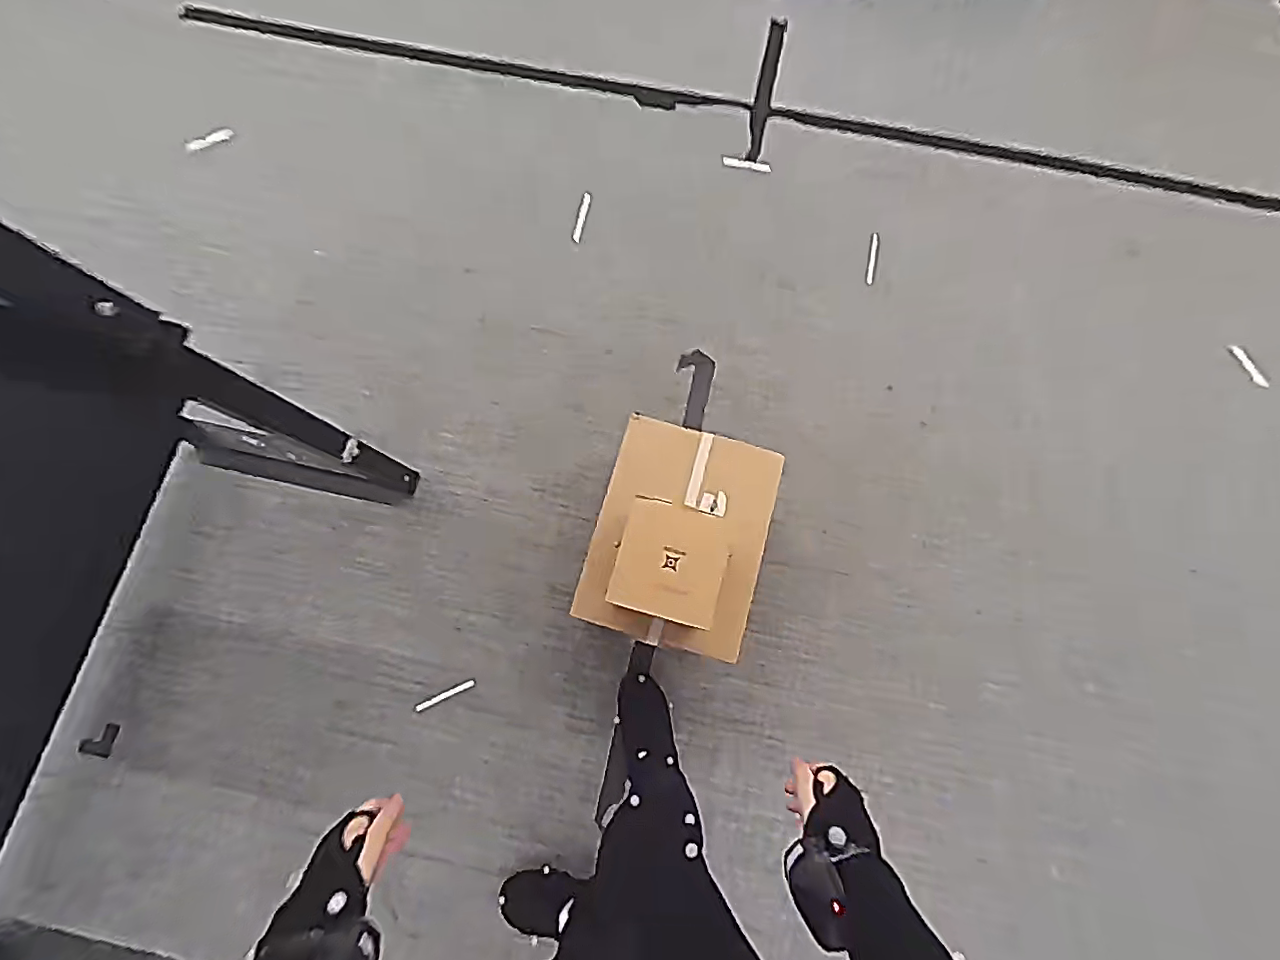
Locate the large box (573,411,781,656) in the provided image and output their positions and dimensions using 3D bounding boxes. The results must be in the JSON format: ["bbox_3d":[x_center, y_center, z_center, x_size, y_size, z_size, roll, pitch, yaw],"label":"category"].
[{"bbox_3d":[0.073,0.123,1.149,0.320,0.320,0.408,16,77,2],"label":"large box"}]

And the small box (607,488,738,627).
[{"bbox_3d":[0.050,0.131,0.896,0.168,0.176,0.179,16,79,4],"label":"small box"}]
